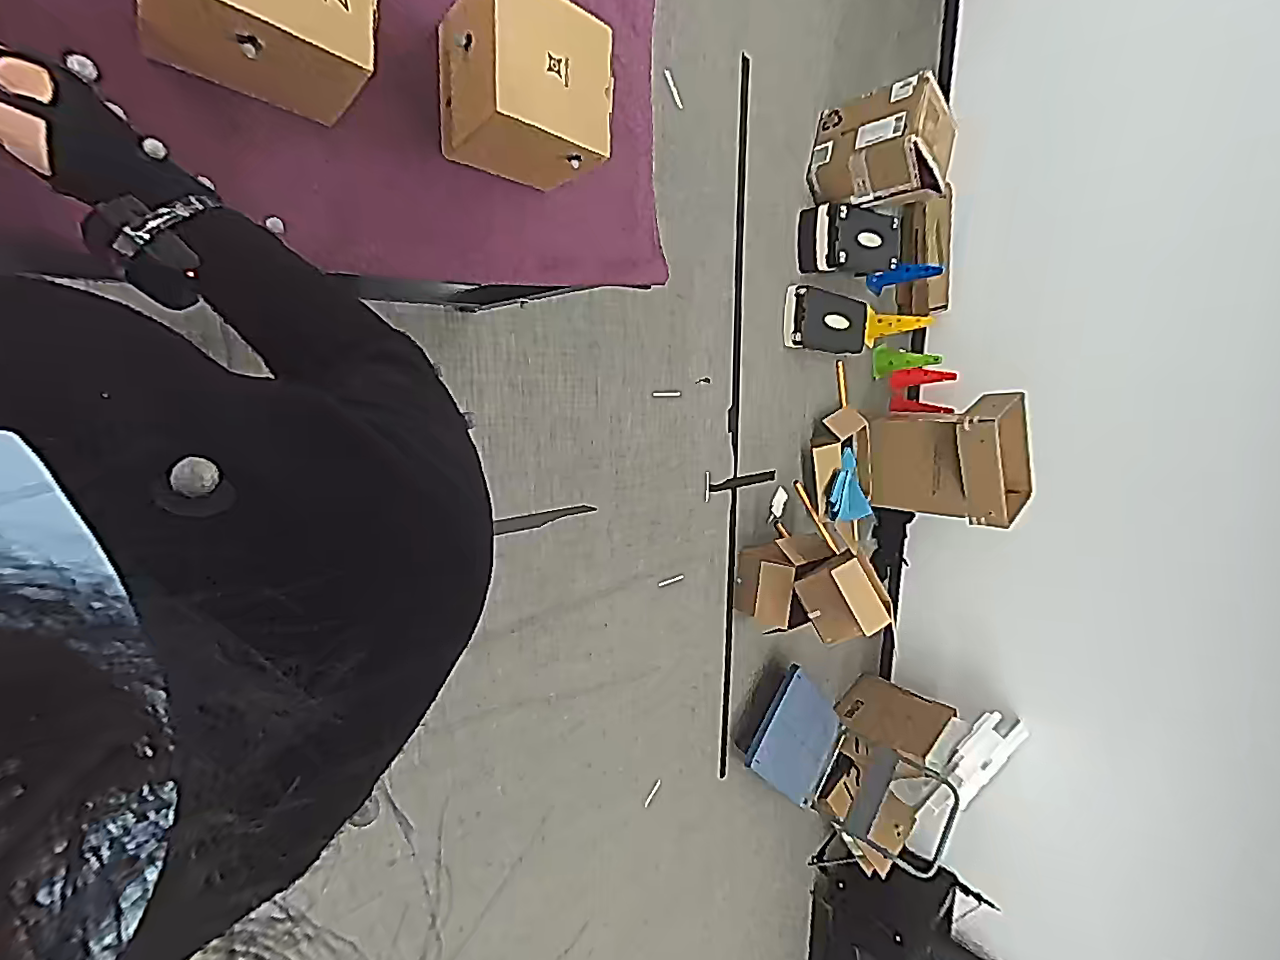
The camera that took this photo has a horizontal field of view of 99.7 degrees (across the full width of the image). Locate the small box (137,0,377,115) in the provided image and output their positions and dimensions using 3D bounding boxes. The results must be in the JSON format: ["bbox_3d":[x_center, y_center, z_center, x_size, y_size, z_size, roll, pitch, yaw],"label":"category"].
[{"bbox_3d":[-0.376,-0.501,0.532,0.179,0.176,0.168,0,99,-44],"label":"small box"}]

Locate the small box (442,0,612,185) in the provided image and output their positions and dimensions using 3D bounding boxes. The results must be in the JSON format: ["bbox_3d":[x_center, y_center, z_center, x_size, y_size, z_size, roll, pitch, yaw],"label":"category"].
[{"bbox_3d":[-0.158,-0.528,0.736,0.179,0.176,0.168,-6,101,-43],"label":"small box"}]
